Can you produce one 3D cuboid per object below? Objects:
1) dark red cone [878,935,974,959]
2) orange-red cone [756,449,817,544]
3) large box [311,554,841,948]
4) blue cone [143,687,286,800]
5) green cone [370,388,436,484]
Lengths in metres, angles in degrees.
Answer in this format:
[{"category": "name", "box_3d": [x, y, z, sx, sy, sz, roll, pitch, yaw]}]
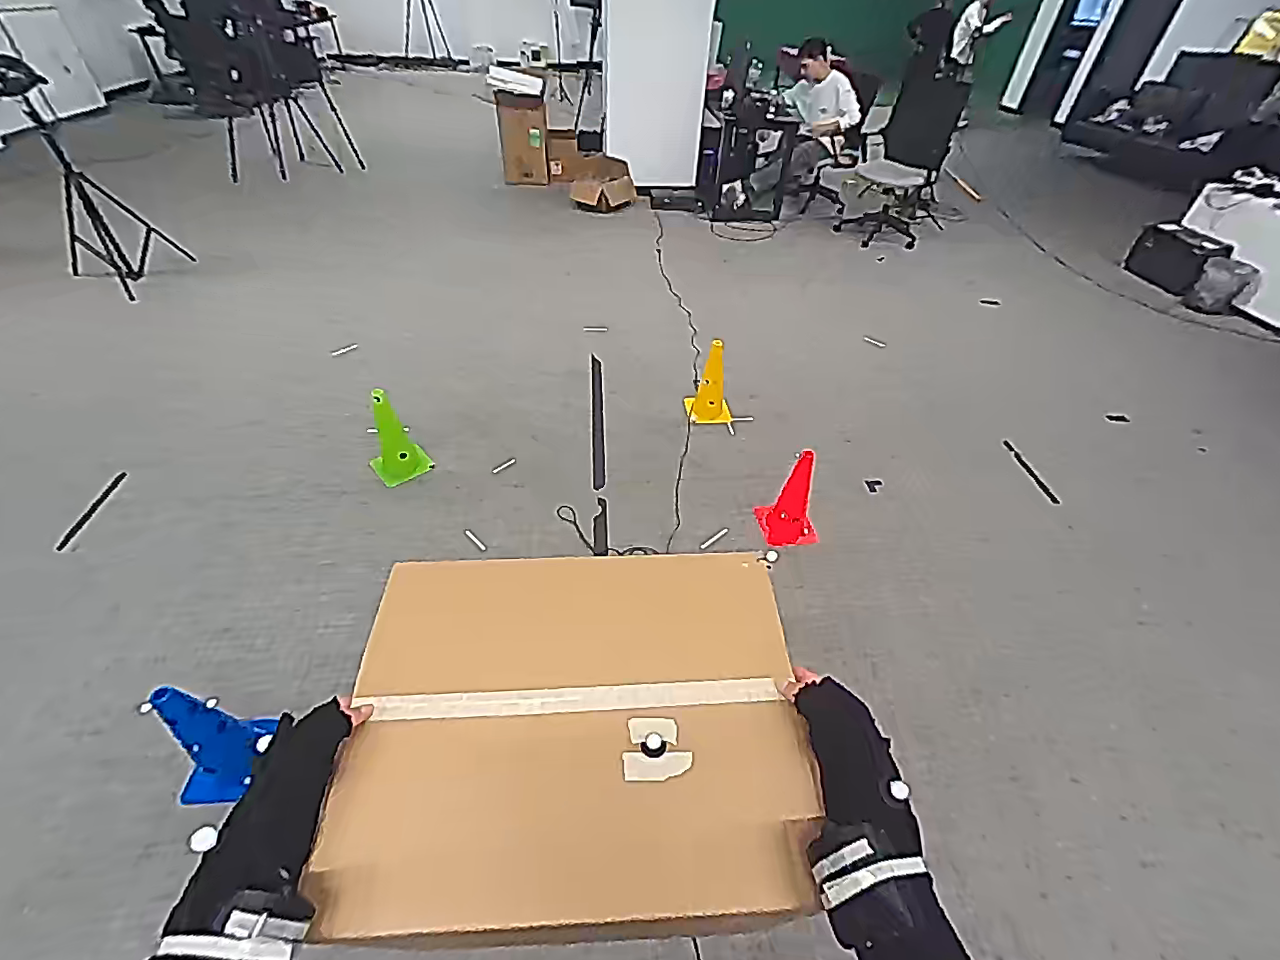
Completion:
[{"category": "dark red cone", "box_3d": [0.590, 0.910, 0.951, 0.201, 0.394, 0.202, 2, 43, 0]}, {"category": "orange-red cone", "box_3d": [0.555, 0.039, 1.916, 0.198, 0.360, 0.199, -3, 42, -7]}, {"category": "large box", "box_3d": [-0.056, 0.302, 0.608, 0.408, 0.320, 0.320, -1, 48, -3]}, {"category": "blue cone", "box_3d": [-1.019, 0.586, 1.264, 0.192, 0.380, 0.193, 0, 43, -2]}, {"category": "green cone", "box_3d": [-0.956, -0.197, 2.079, 0.202, 0.368, 0.200, -32, 52, -29]}]
